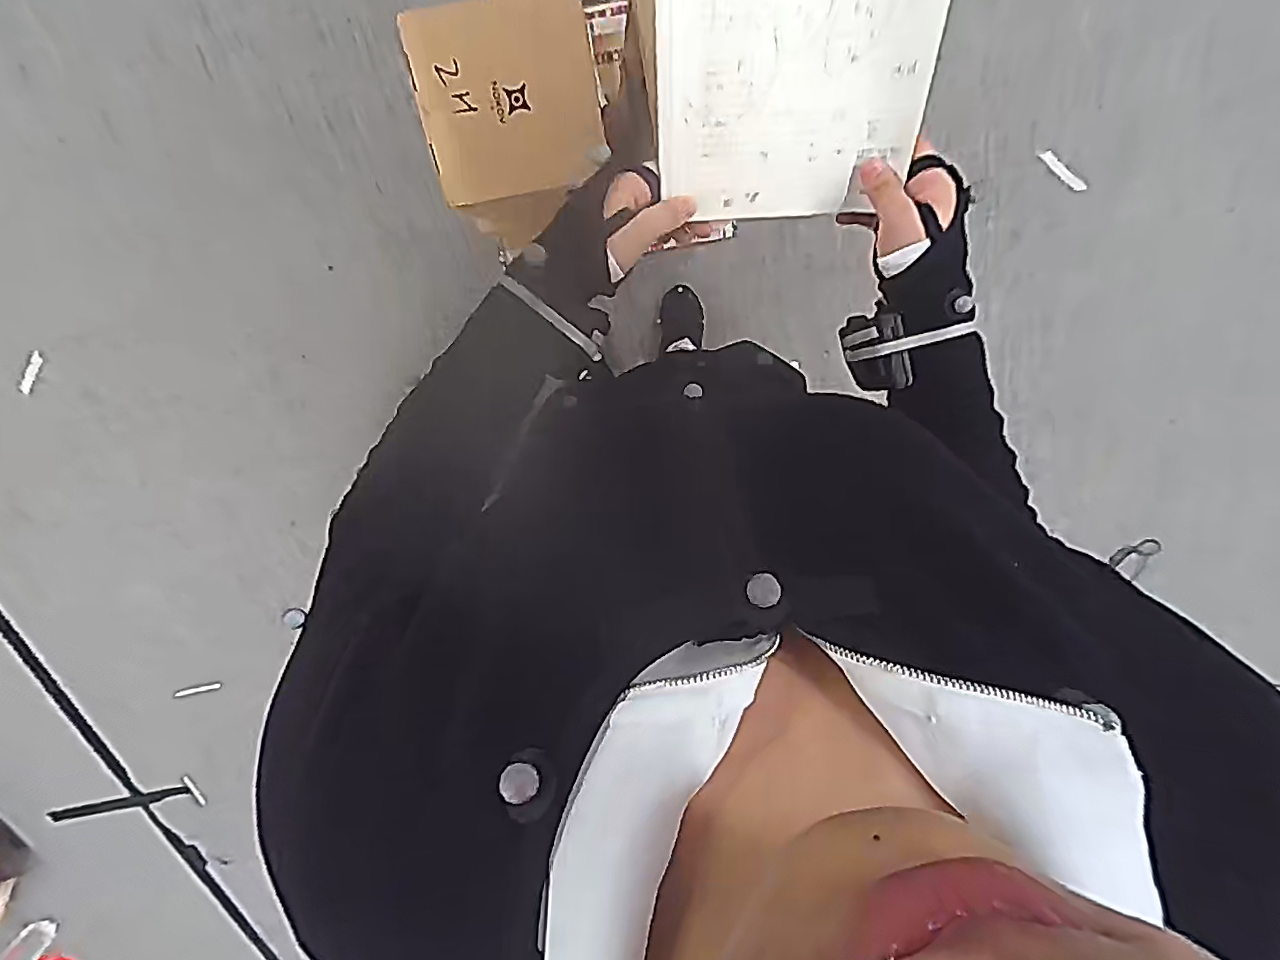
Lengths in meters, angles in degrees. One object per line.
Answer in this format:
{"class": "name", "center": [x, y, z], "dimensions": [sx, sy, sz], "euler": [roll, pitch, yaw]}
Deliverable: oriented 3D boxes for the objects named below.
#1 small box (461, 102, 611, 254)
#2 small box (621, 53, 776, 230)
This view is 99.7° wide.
{"class": "small box", "center": [-0.135, -0.424, 0.781], "dimensions": [0.179, 0.176, 0.168], "euler": [-5, 112, 1]}
{"class": "small box", "center": [0.077, -0.469, 0.775], "dimensions": [0.179, 0.176, 0.168], "euler": [-14, 112, 1]}
